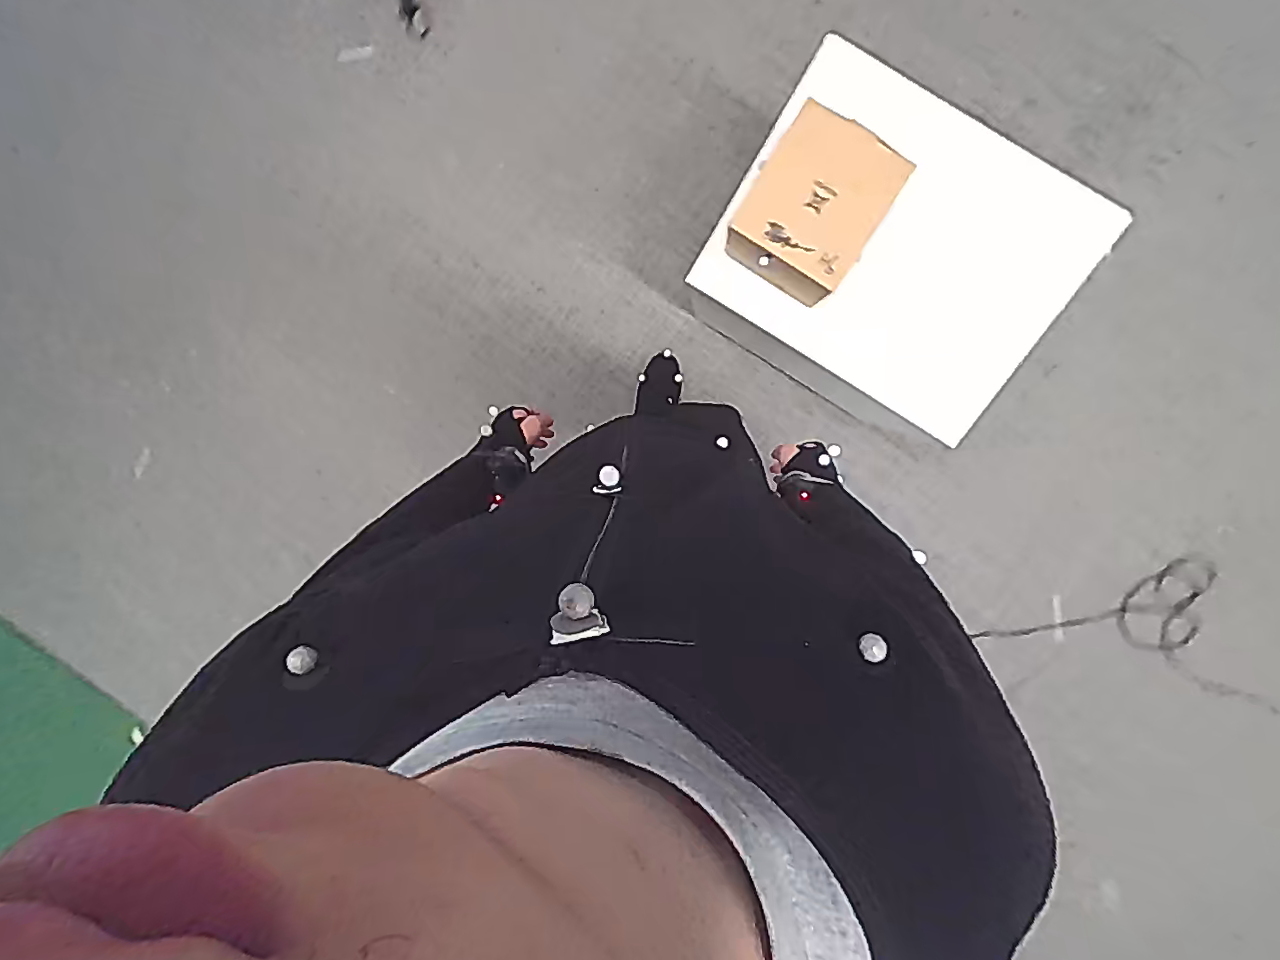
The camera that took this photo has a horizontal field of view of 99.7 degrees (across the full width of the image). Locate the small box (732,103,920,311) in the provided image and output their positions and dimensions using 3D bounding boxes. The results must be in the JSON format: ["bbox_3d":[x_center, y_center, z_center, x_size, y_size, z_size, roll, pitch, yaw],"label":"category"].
[{"bbox_3d":[0.241,-0.363,0.757,0.168,0.176,0.179,34,102,1],"label":"small box"}]
